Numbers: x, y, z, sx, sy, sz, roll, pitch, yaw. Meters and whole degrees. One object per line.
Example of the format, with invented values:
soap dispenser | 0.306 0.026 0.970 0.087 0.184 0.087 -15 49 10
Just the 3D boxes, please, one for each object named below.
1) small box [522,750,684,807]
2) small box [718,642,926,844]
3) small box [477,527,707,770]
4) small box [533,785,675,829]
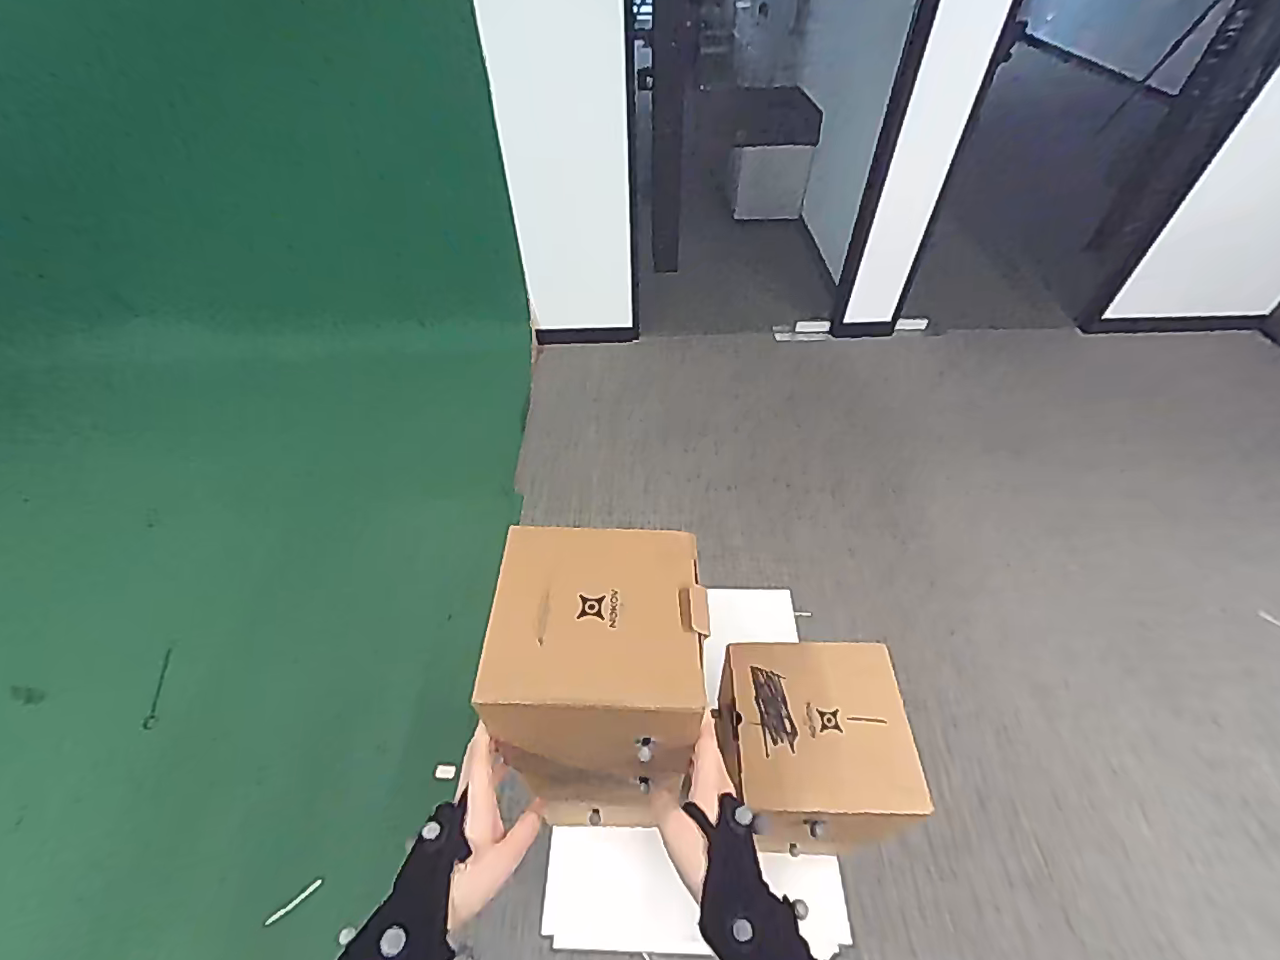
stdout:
small box | -0.042 0.272 0.638 0.179 0.176 0.168 3 47 -1
small box | 0.182 0.299 0.610 0.179 0.176 0.168 0 48 2
small box | -0.037 0.163 0.517 0.179 0.176 0.168 1 46 -1
small box | -0.044 0.381 0.761 0.179 0.176 0.168 1 48 -1
